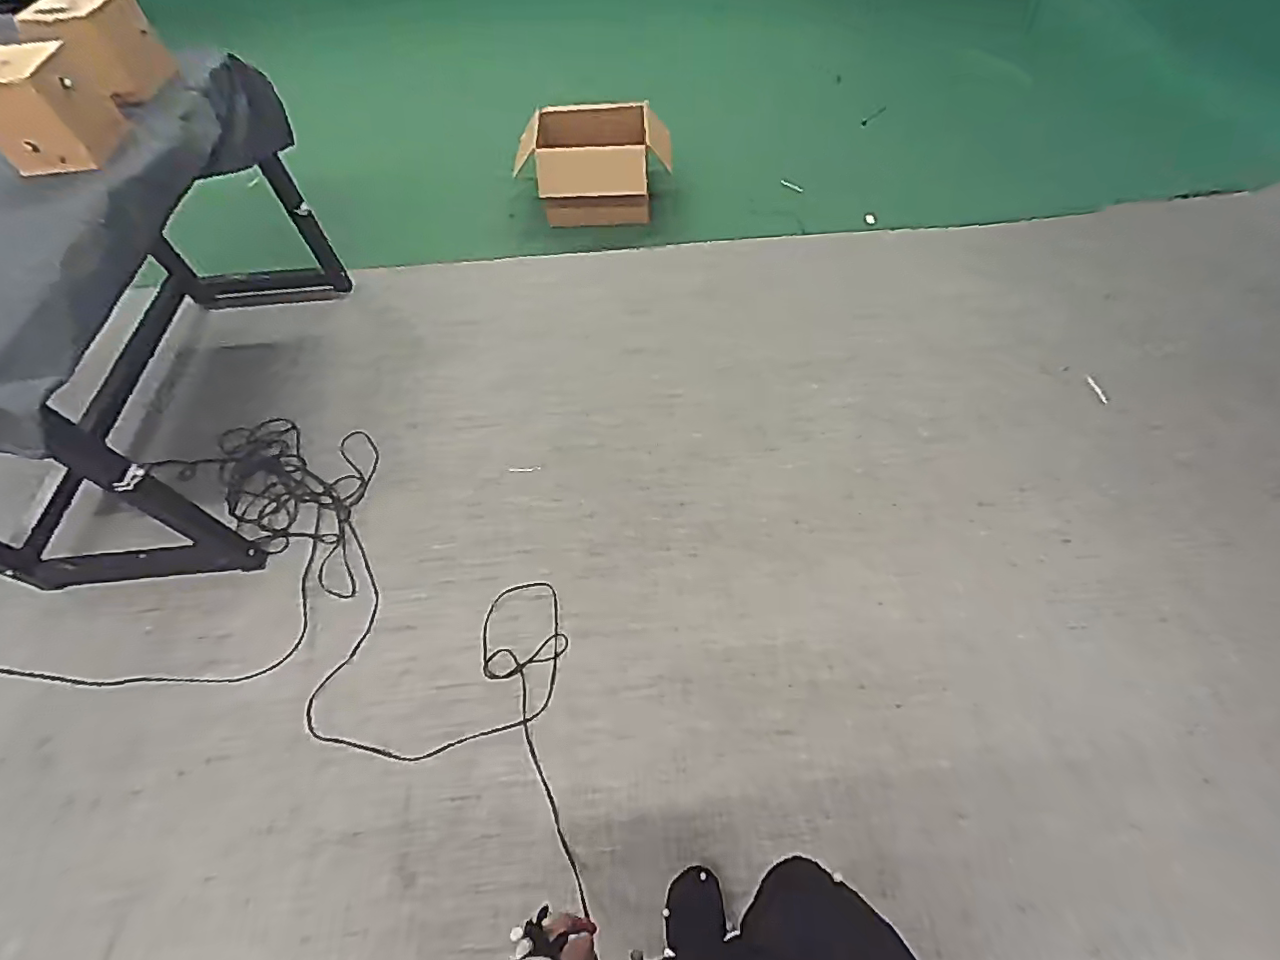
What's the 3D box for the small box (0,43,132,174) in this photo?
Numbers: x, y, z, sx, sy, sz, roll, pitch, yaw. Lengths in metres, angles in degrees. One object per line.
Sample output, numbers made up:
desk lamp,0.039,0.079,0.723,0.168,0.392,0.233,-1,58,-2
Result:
small box,-1.220,-0.765,1.118,0.168,0.176,0.179,-7,59,-2
